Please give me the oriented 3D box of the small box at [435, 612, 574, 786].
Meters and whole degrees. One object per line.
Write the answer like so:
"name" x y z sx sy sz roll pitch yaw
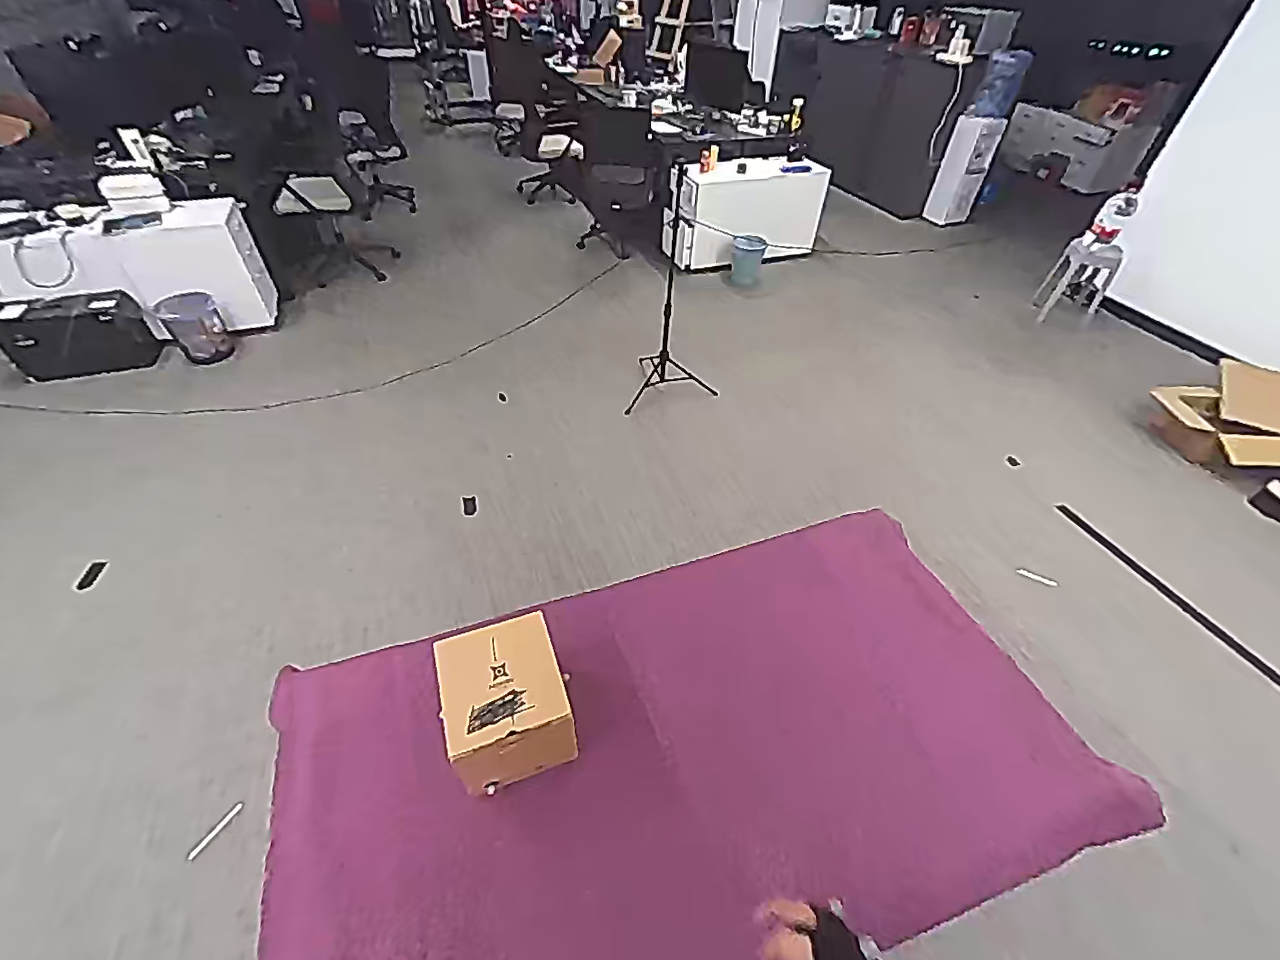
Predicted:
"small box" -0.202 0.339 0.825 0.168 0.176 0.179 -13 46 -16
